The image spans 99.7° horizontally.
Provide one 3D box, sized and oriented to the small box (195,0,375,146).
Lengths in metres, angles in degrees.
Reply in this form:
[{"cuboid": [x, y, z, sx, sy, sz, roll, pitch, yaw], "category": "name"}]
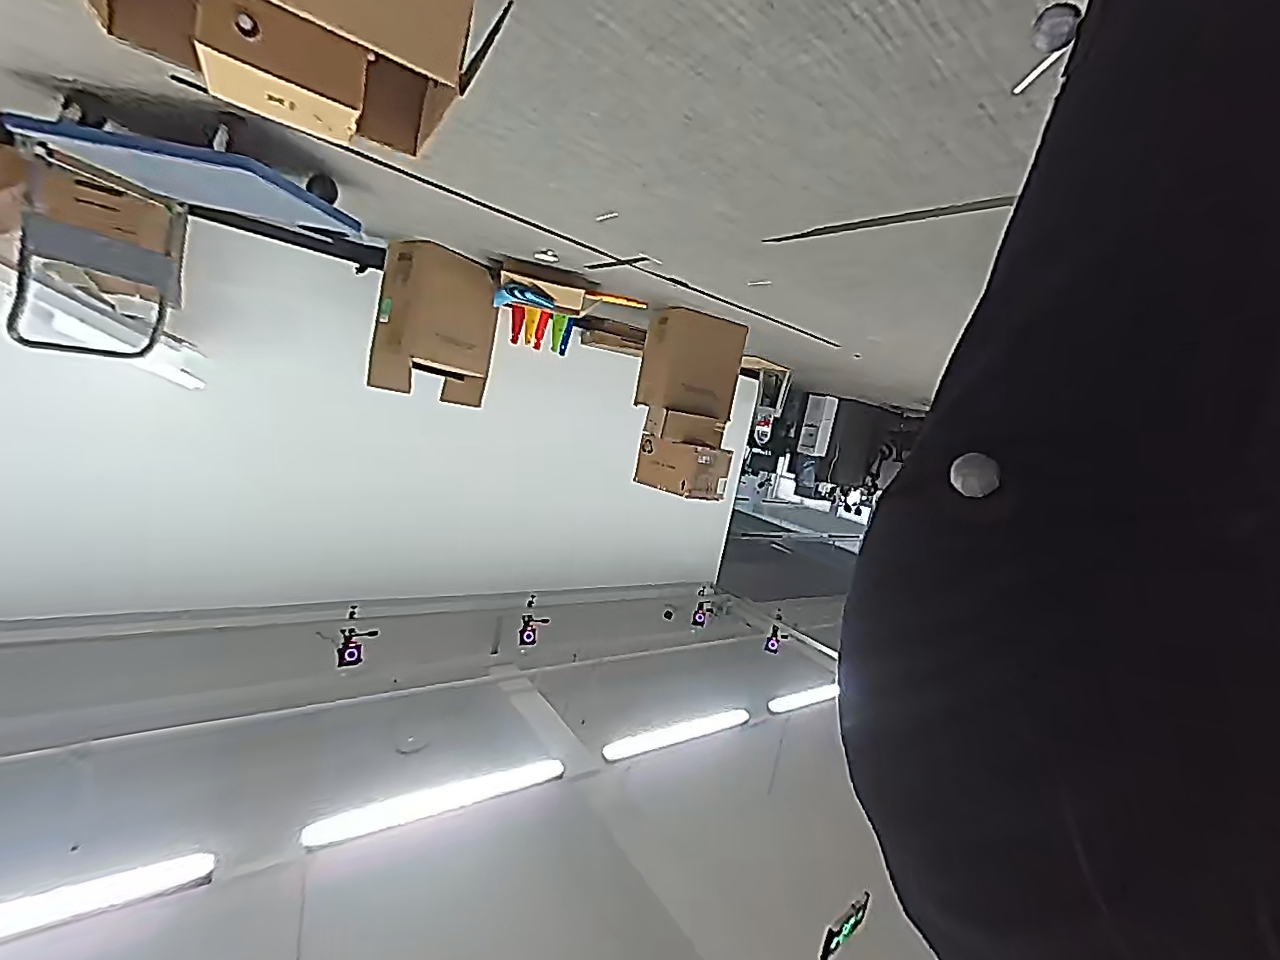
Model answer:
[{"cuboid": [-0.472, -0.596, 0.728, 0.179, 0.176, 0.168, 6, -171, -35], "category": "small box"}]
